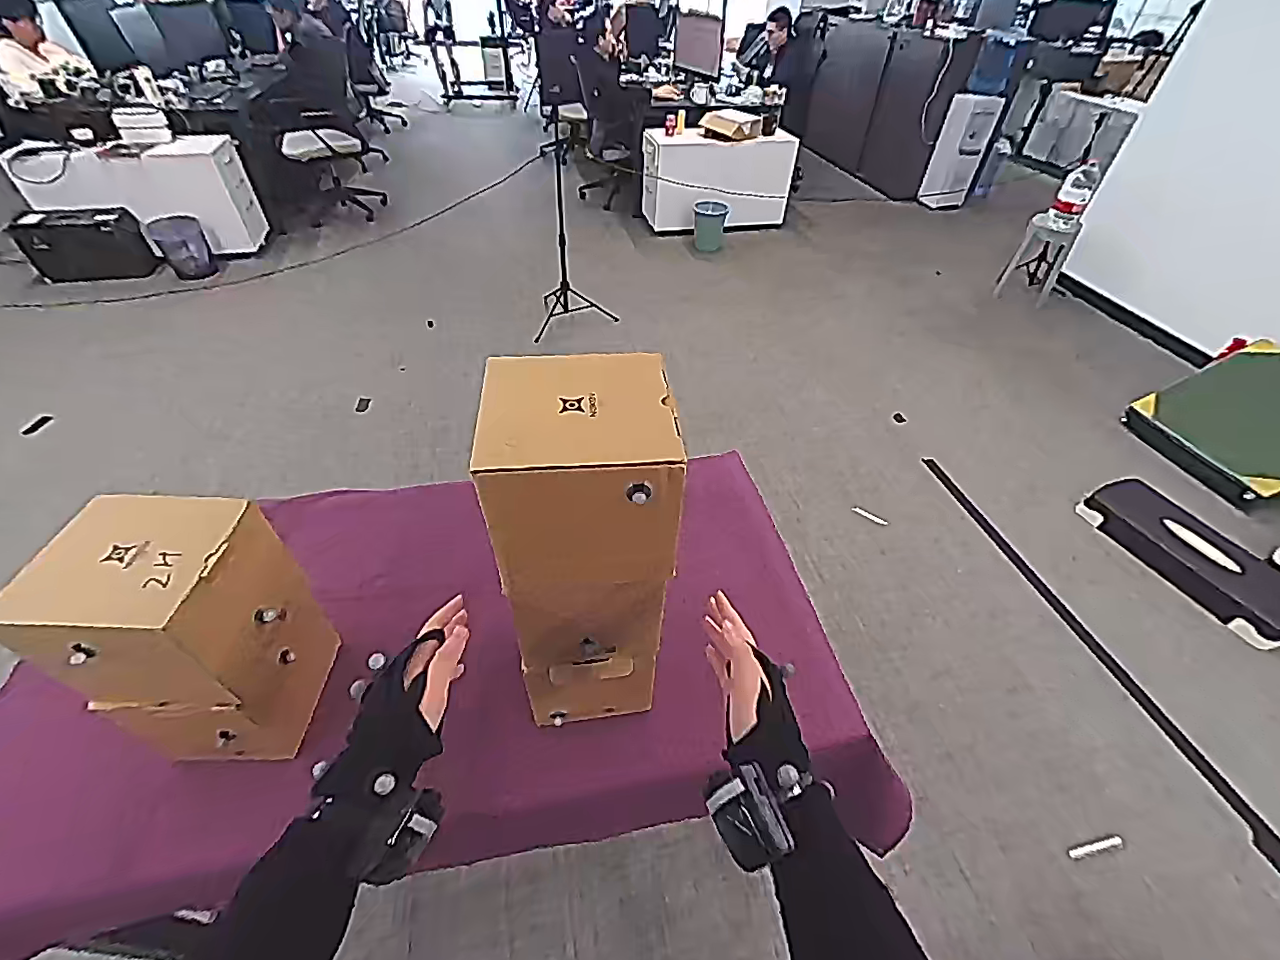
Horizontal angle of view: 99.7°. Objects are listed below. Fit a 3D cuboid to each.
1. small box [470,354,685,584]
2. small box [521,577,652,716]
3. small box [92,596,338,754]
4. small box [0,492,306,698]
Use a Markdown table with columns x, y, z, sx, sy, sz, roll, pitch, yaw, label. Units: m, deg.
| x | y | z | sx | sy | sz | roll | pitch | yaw | label |
| --- | --- | --- | --- | --- | --- | --- | --- | --- | --- |
| -0.058 | -0.010 | 0.544 | 0.179 | 0.176 | 0.168 | -2 | 45 | -6 | small box |
| -0.077 | 0.220 | 0.775 | 0.168 | 0.176 | 0.179 | -5 | 44 | -8 | small box |
| -0.538 | 0.250 | 0.723 | 0.168 | 0.176 | 0.179 | 2 | 44 | -2 | small box |
| -0.525 | 0.131 | 0.610 | 0.179 | 0.176 | 0.168 | 3 | 45 | -2 | small box |
